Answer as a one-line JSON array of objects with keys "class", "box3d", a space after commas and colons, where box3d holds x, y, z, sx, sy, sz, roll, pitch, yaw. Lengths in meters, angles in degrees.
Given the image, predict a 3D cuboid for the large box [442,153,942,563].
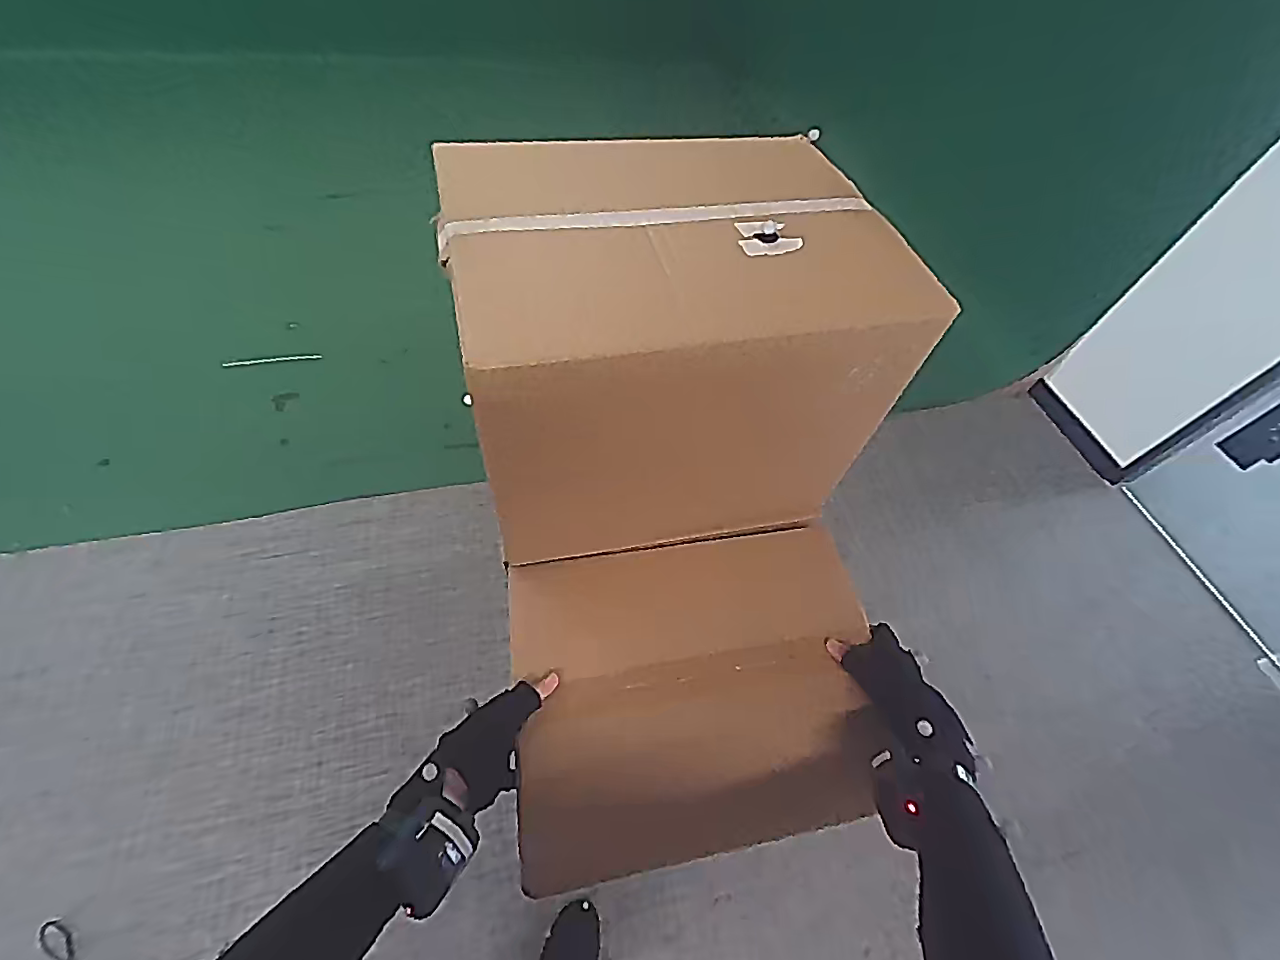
[{"class": "large box", "box3d": [0.018, -0.141, 0.619, 0.408, 0.320, 0.320, -9, 57, -14]}]
